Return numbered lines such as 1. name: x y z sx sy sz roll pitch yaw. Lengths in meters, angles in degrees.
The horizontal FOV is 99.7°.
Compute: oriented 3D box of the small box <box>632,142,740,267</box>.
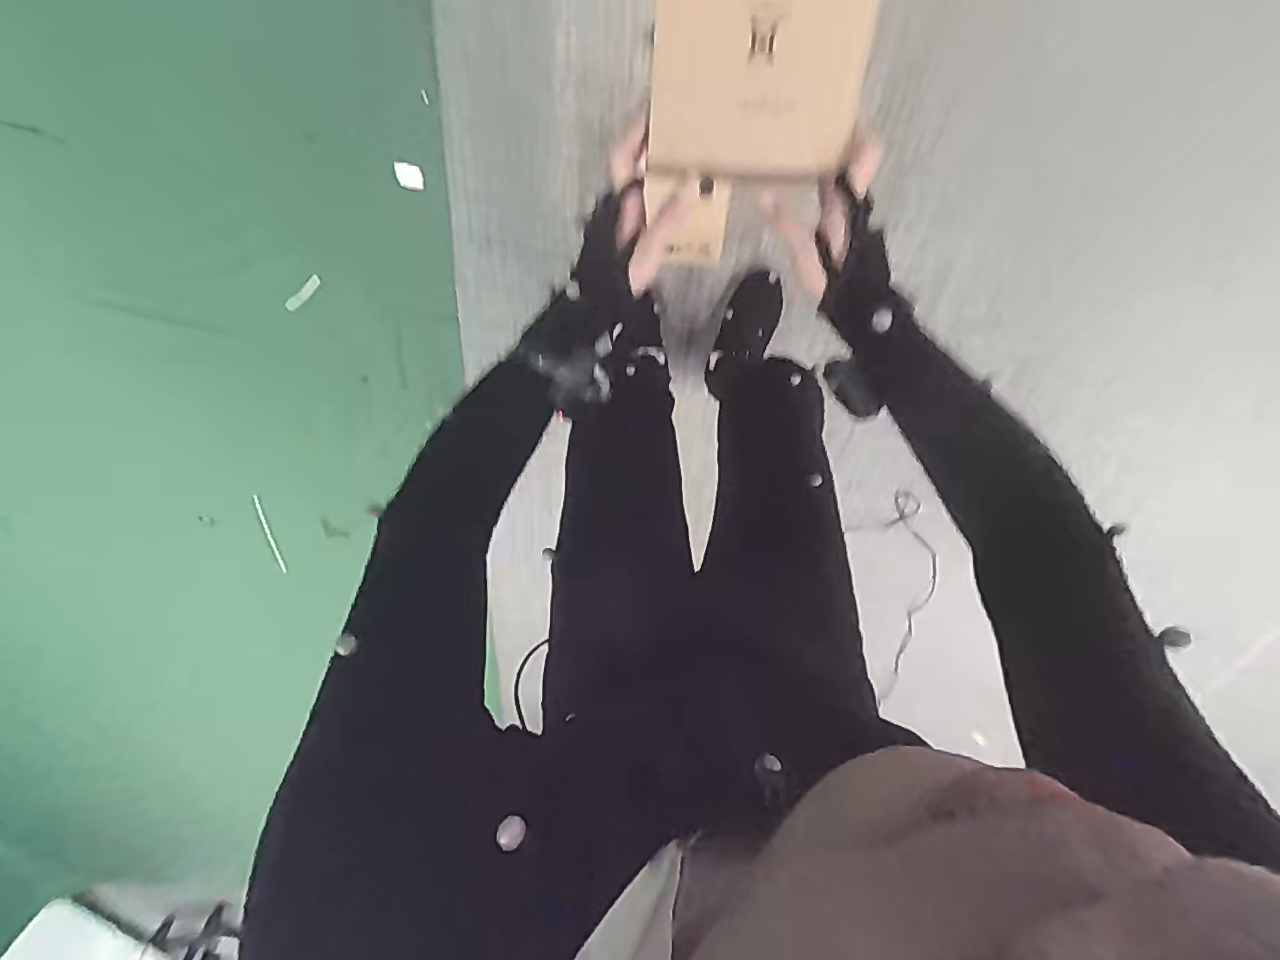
1. small box: 0.078 -0.509 0.991 0.168 0.176 0.179 7 125 0
